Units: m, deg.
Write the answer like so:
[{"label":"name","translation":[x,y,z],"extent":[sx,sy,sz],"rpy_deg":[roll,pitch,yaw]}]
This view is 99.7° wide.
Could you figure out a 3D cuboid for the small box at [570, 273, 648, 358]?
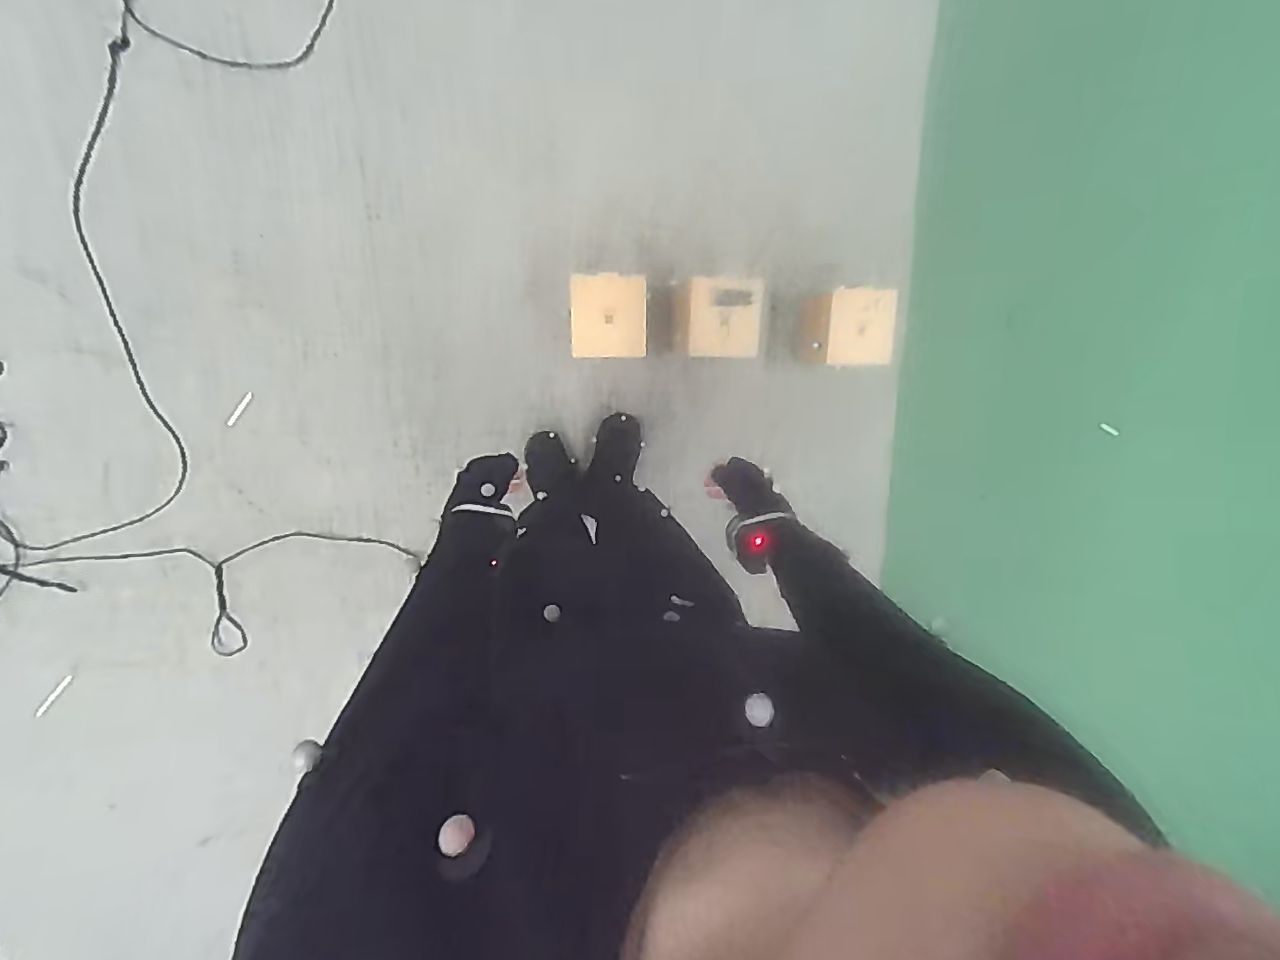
[{"label":"small box","translation":[-0.075,-0.372,1.244],"extent":[0.168,0.176,0.179],"rpy_deg":[-2,103,-7]}]

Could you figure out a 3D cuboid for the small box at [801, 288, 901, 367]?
[{"label":"small box","translation":[0.509,-0.372,1.331],"extent":[0.168,0.176,0.179],"rpy_deg":[-2,104,-9]}]
